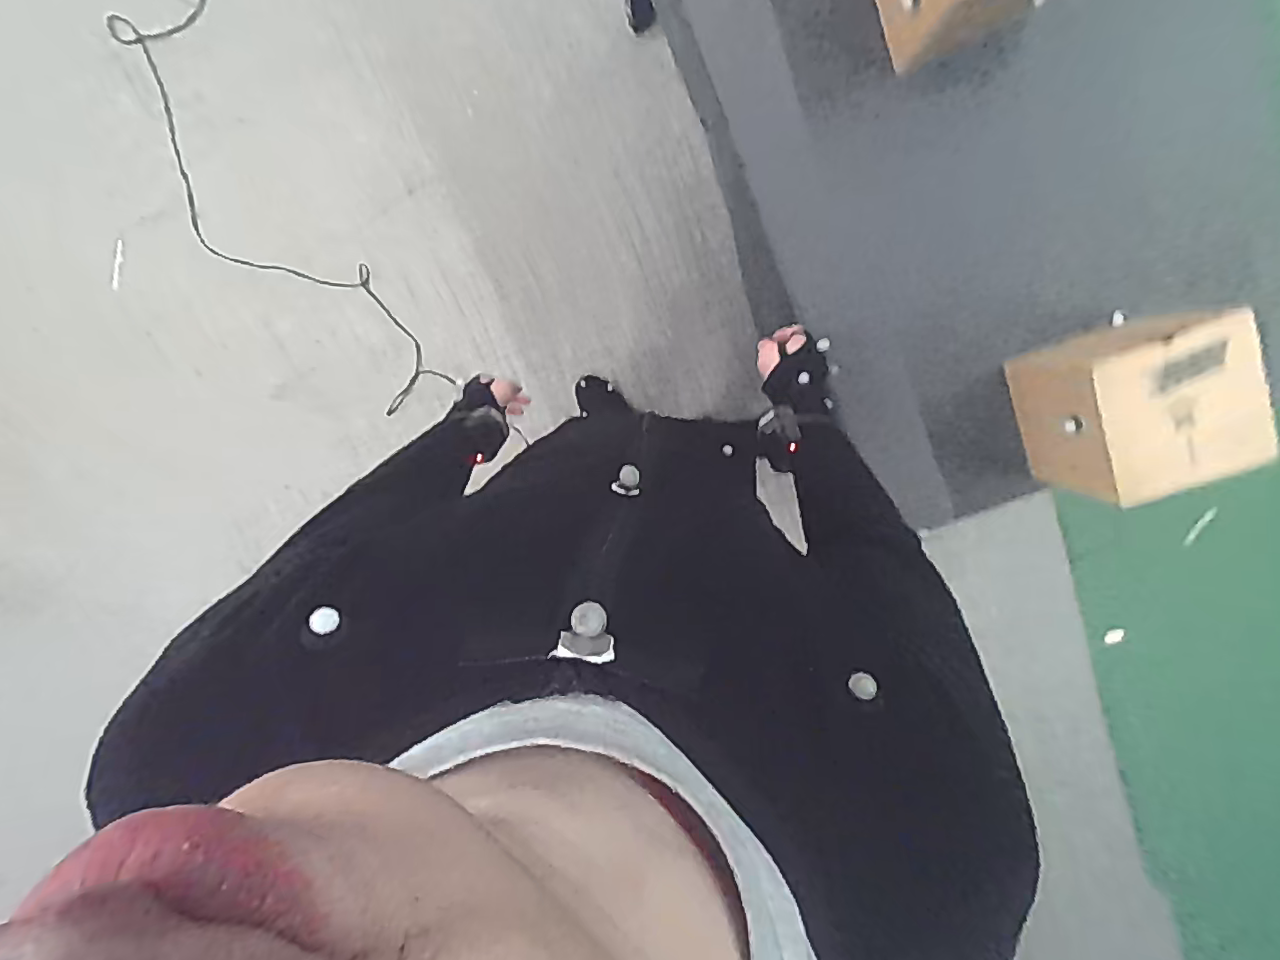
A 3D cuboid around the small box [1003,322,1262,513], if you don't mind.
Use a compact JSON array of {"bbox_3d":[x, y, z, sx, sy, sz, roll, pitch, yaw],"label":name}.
[{"bbox_3d":[0.598,-0.081,0.680,0.168,0.176,0.179,-20,101,7],"label":"small box"}]
